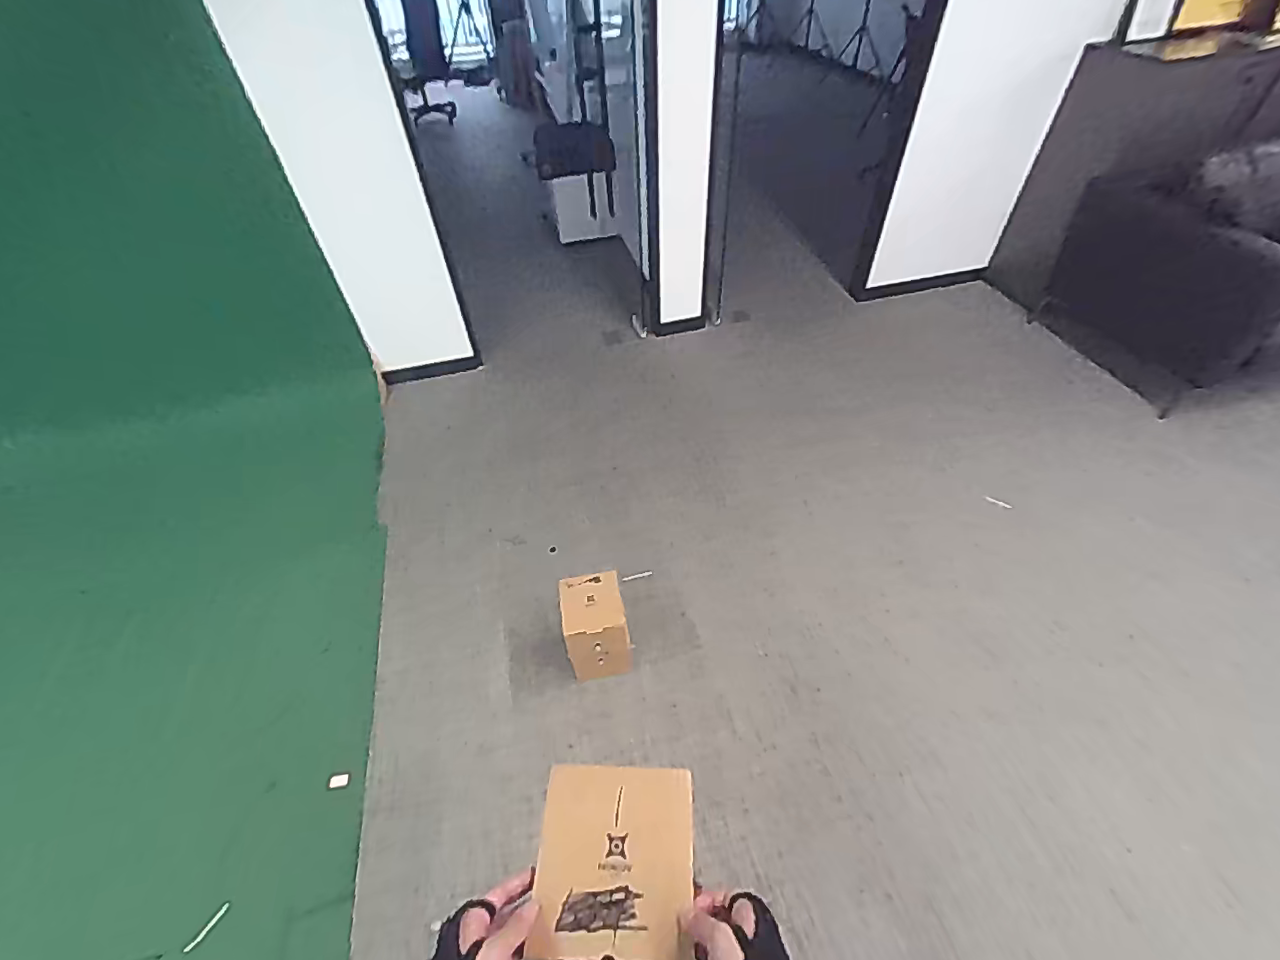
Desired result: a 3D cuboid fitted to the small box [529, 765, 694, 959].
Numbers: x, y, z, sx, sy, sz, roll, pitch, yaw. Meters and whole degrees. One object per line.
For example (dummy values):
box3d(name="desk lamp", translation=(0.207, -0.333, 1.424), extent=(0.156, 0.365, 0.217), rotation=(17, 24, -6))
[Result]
box3d(name="small box", translation=(-0.020, 0.462, 0.640), extent=(0.168, 0.176, 0.179), rotation=(1, 46, 4))

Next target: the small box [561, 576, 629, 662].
box3d(name="small box", translation=(-0.126, 0.399, 1.529), extent=(0.168, 0.176, 0.179), rotation=(-8, 49, -5))

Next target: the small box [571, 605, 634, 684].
box3d(name="small box", translation=(-0.117, 0.506, 1.653), extent=(0.179, 0.176, 0.168), rotation=(-8, 48, -5))
